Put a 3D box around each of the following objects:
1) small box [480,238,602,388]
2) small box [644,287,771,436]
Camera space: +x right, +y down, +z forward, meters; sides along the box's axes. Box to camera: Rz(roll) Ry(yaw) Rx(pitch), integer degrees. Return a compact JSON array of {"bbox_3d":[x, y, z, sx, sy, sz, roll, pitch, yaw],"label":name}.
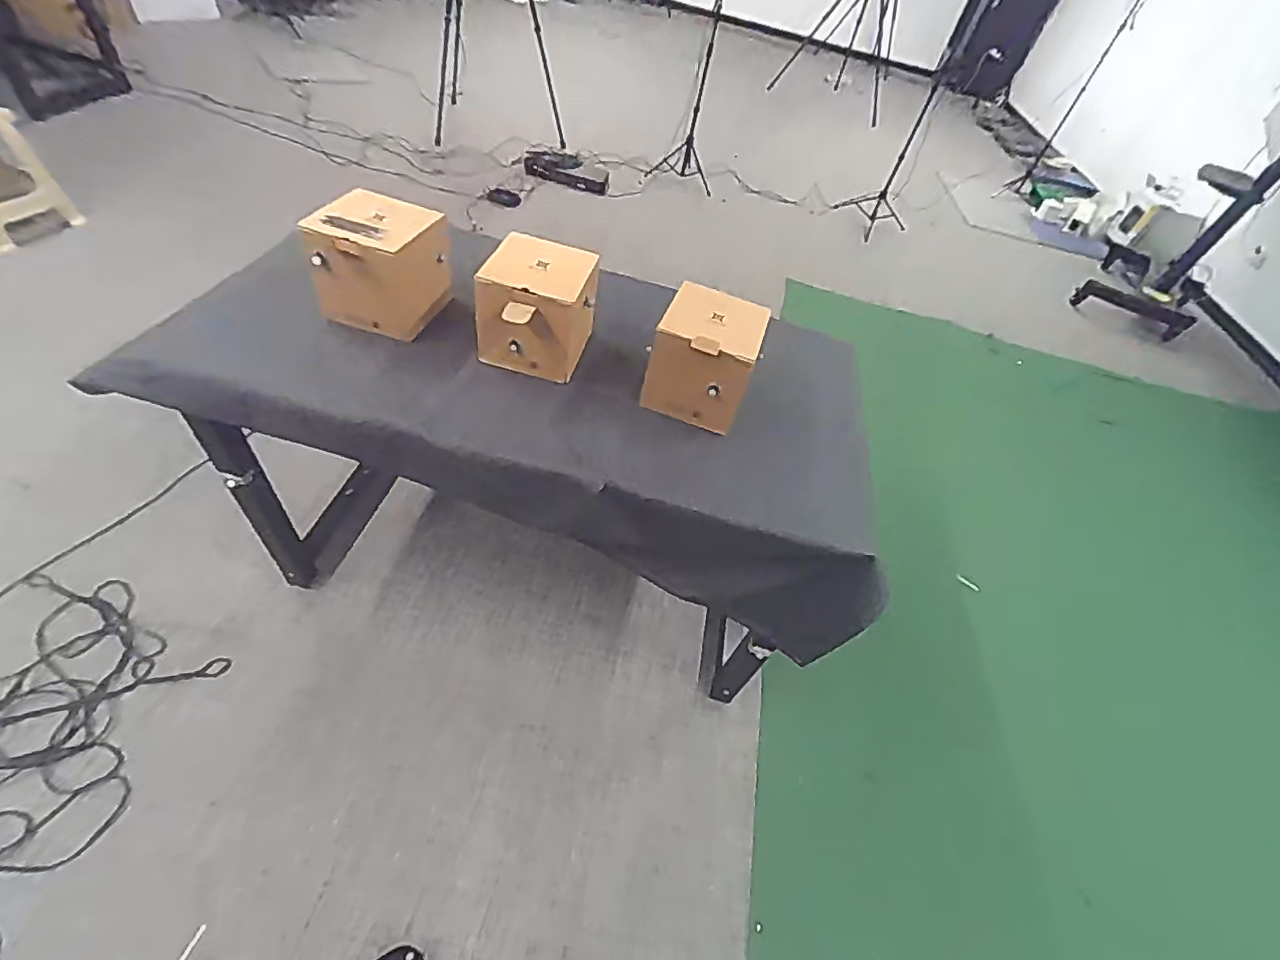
[{"bbox_3d":[-0.178,-0.298,0.971,0.168,0.176,0.179,15,48,0],"label":"small box"},{"bbox_3d":[0.115,-0.207,0.960,0.168,0.176,0.179,21,47,4],"label":"small box"}]
